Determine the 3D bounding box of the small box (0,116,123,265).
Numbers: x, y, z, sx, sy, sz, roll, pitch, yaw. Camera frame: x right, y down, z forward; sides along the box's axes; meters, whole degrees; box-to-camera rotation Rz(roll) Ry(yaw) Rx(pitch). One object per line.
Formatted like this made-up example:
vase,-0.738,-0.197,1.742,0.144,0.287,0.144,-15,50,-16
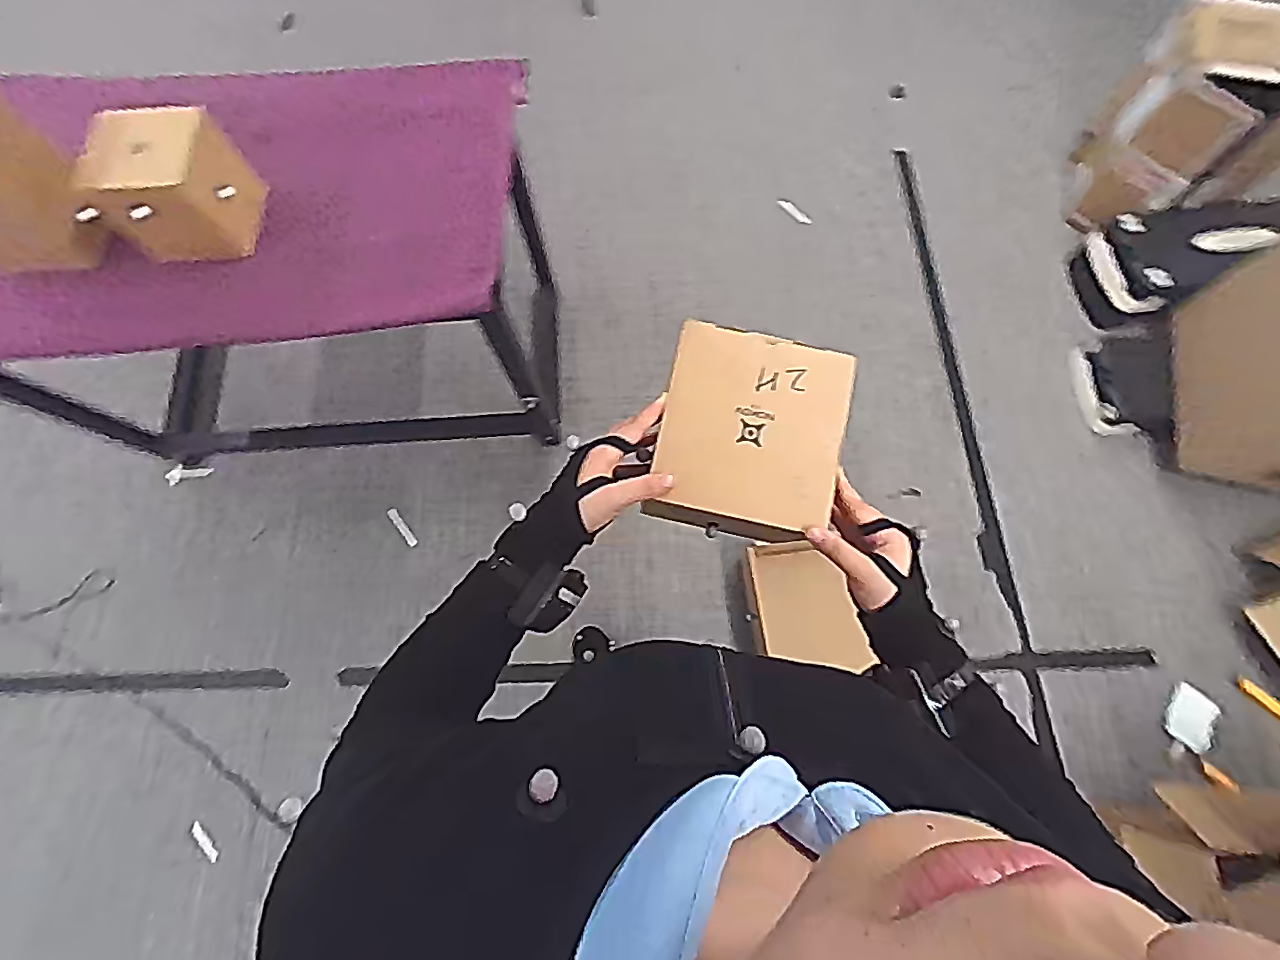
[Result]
small box,-1.077,-0.499,0.950,0.179,0.176,0.168,-2,73,0

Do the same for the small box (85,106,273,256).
small box,-0.792,-0.518,0.952,0.179,0.176,0.168,-2,73,1
